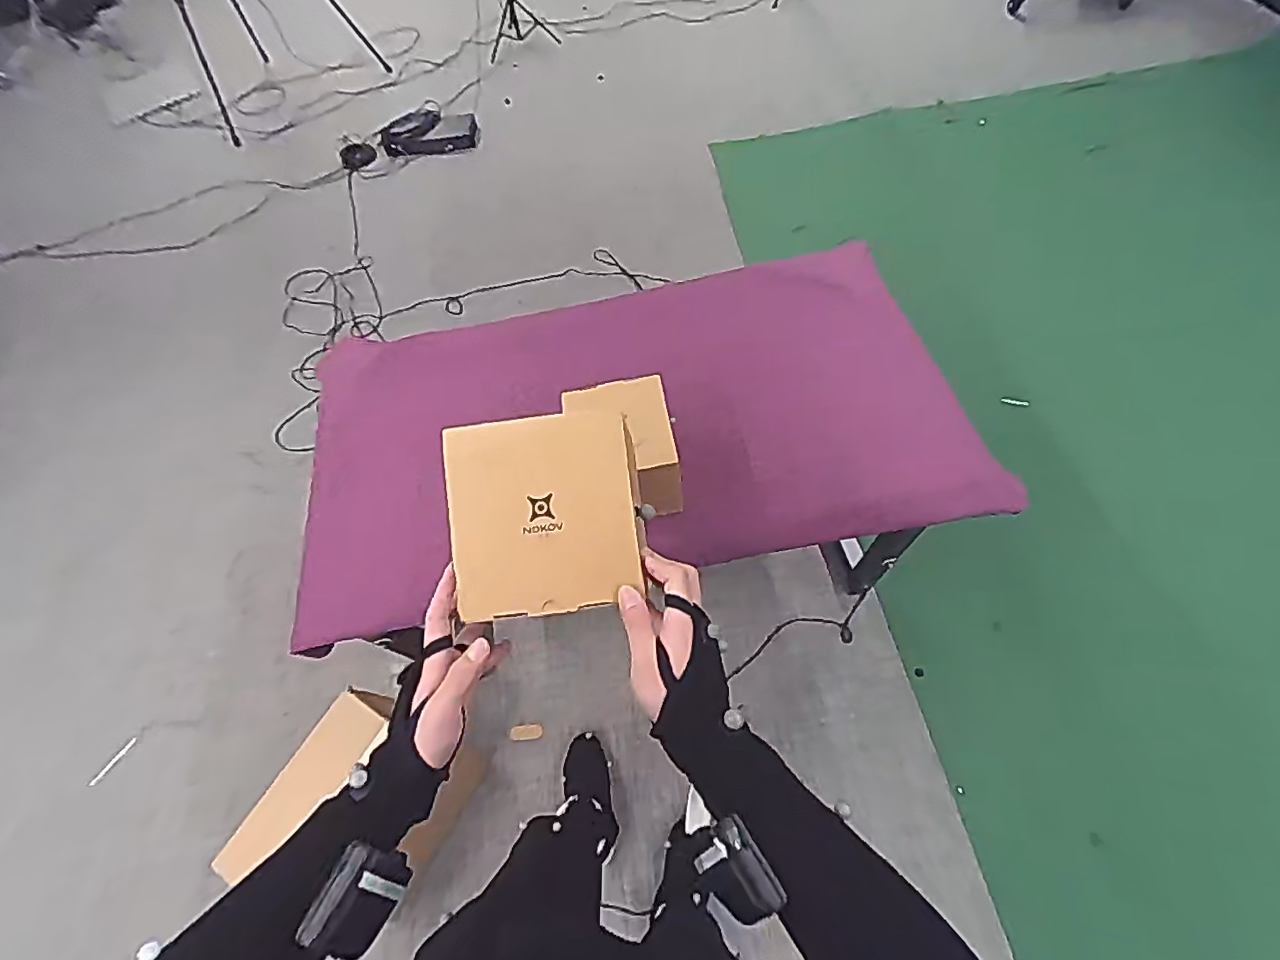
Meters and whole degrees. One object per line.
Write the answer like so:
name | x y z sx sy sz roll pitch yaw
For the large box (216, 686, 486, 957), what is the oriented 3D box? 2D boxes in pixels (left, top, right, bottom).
large box | -0.642 0.771 1.275 0.320 0.320 0.408 25 66 17

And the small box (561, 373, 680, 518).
small box | -0.029 -0.047 0.896 0.168 0.176 0.179 -10 60 2

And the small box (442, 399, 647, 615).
small box | -0.084 0.029 0.547 0.168 0.176 0.179 -7 85 1
